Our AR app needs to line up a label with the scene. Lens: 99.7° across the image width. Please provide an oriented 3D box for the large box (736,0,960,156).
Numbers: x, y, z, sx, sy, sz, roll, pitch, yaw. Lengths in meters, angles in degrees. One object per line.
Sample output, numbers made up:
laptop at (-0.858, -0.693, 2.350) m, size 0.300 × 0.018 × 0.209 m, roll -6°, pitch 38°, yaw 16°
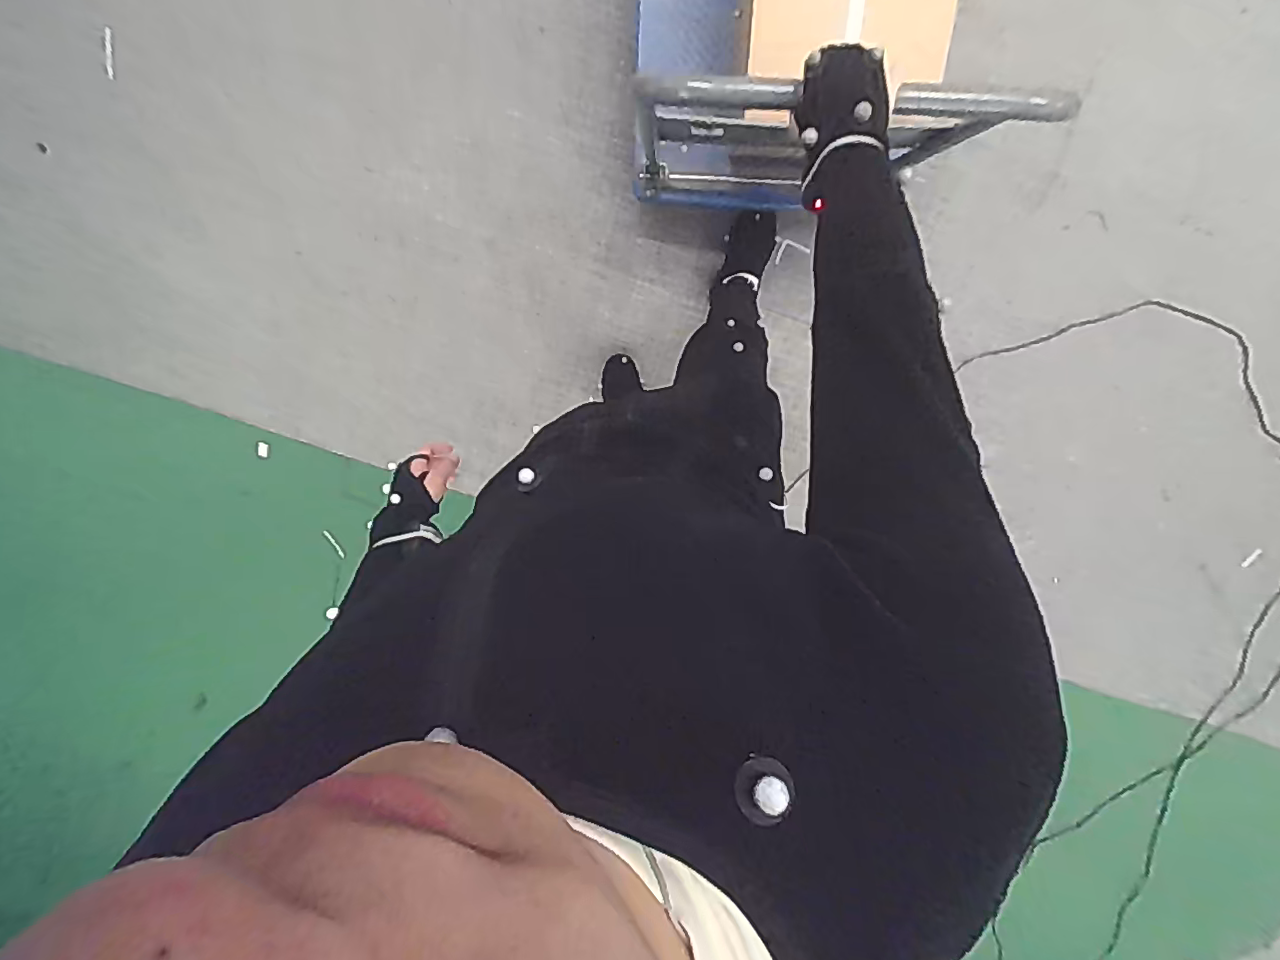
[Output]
large box at (0.348, -0.831, 0.958) m, size 0.320 × 0.320 × 0.408 m, roll 2°, pitch 112°, yaw 2°
